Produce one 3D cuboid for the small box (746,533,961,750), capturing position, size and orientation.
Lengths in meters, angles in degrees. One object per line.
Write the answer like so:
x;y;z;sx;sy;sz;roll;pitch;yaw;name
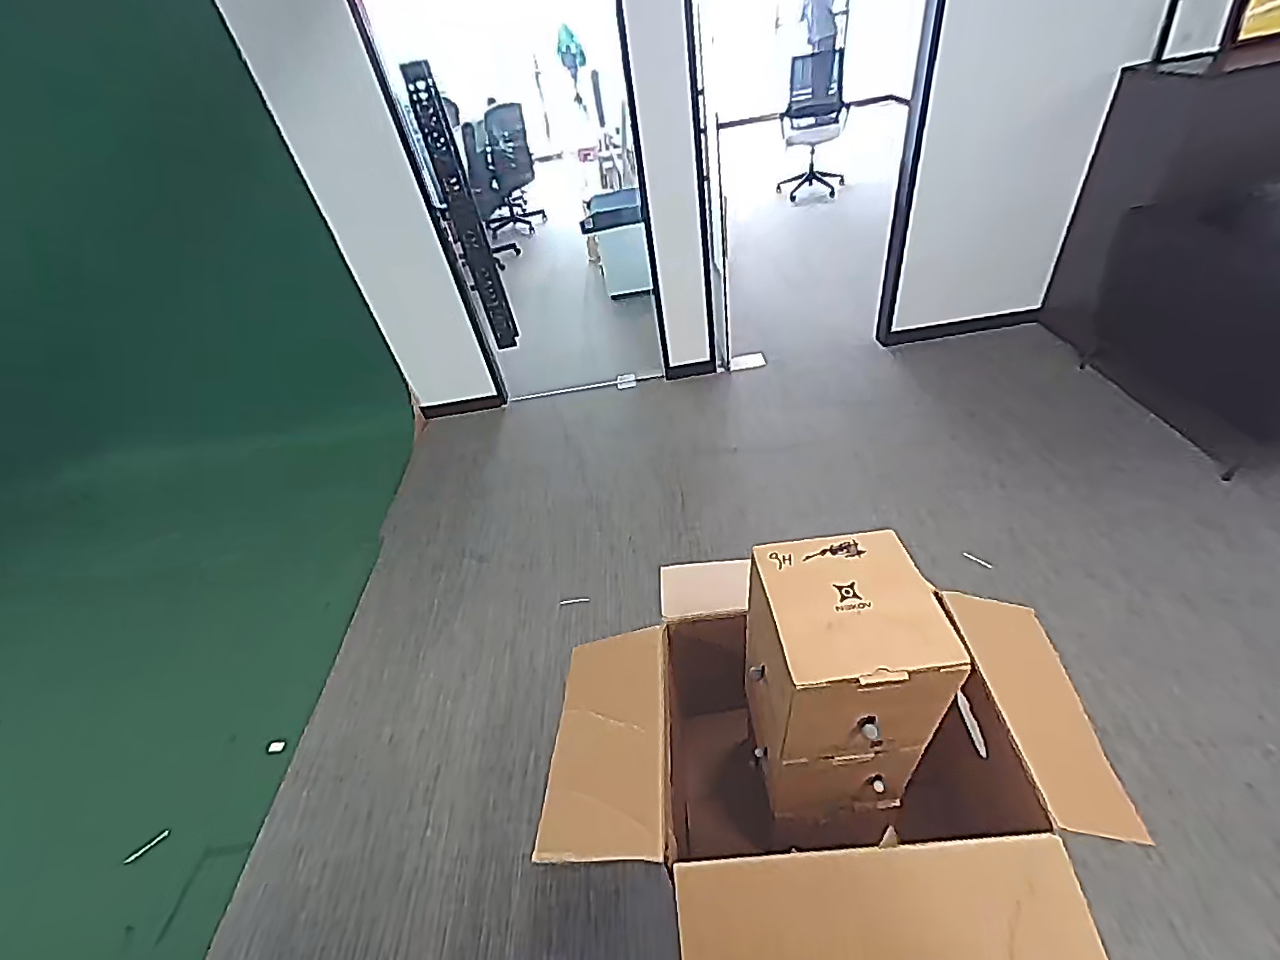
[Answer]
0.219;0.187;0.612;0.168;0.176;0.179;-6;42;0;small box
